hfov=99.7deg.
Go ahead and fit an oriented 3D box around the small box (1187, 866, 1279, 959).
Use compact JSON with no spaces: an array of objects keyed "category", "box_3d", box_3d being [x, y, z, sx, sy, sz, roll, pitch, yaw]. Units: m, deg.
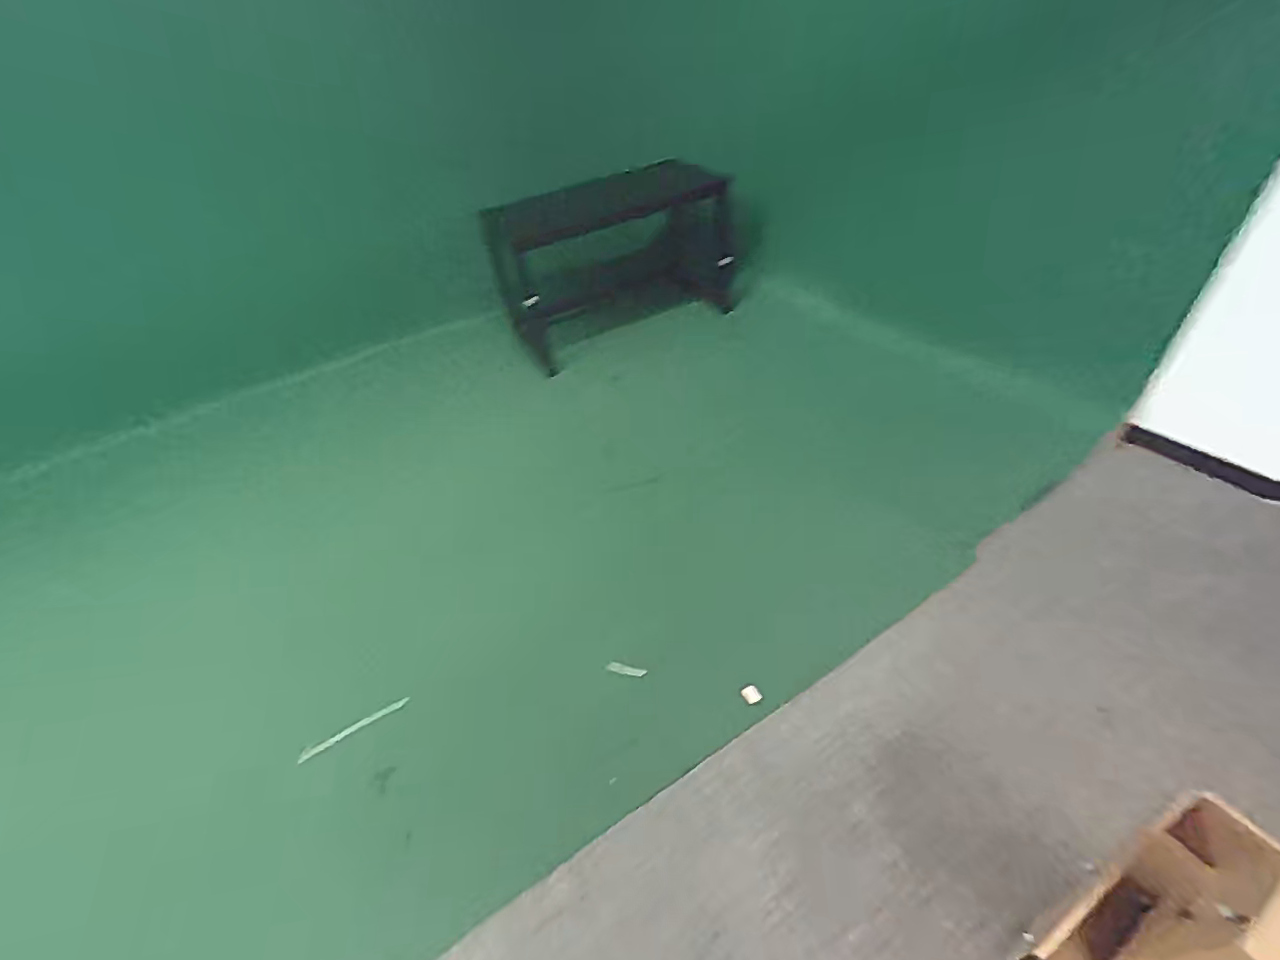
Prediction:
[{"category":"small box","box_3d":[0.729,0.524,0.553,0.179,0.176,0.168,-26,44,-16]}]
